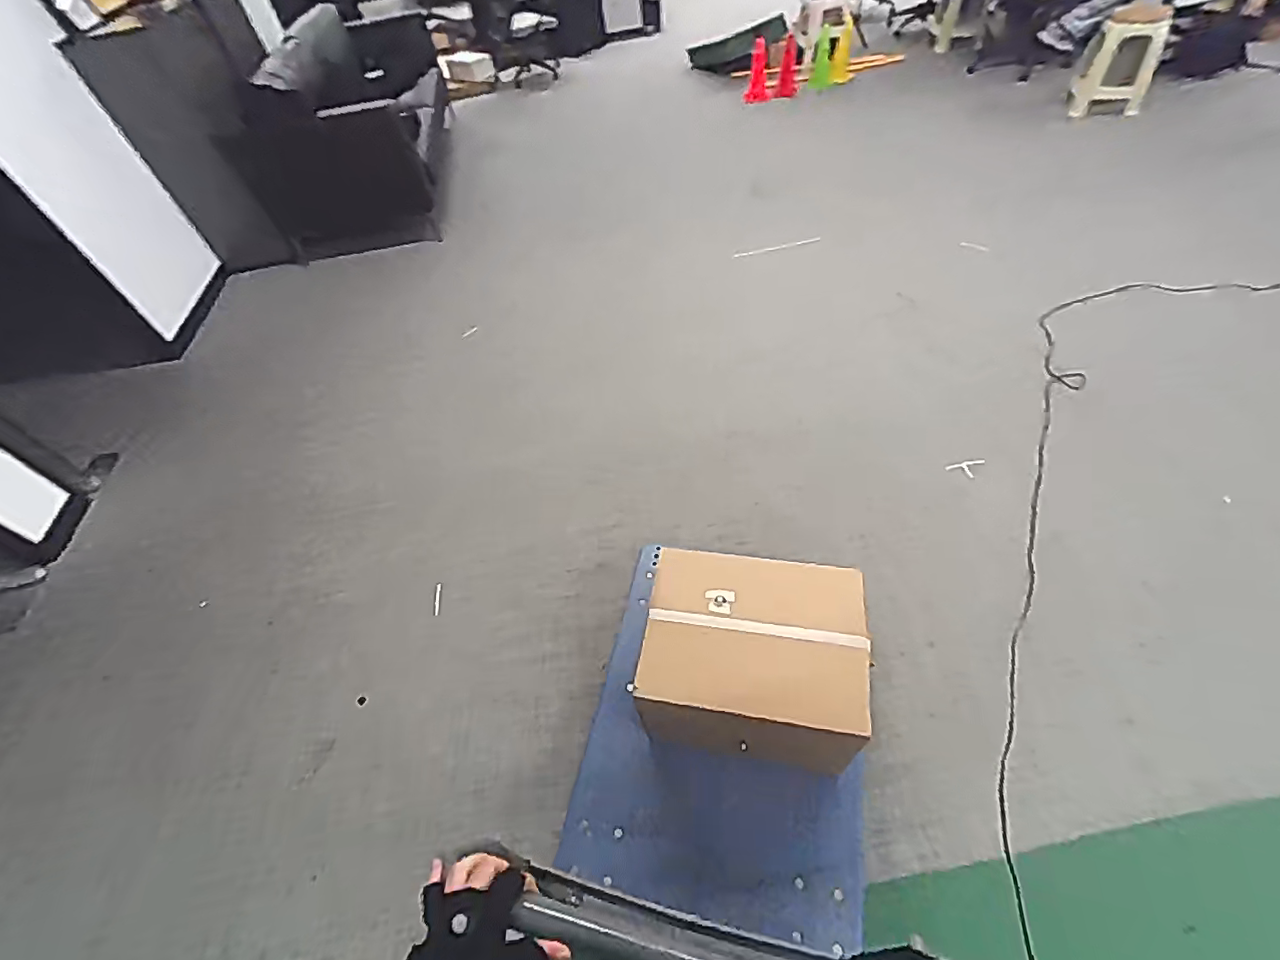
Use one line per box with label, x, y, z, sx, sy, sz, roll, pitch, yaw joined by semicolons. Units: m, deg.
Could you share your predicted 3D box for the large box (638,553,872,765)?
large box;0.234;0.375;1.131;0.408;0.320;0.320;3;51;12
